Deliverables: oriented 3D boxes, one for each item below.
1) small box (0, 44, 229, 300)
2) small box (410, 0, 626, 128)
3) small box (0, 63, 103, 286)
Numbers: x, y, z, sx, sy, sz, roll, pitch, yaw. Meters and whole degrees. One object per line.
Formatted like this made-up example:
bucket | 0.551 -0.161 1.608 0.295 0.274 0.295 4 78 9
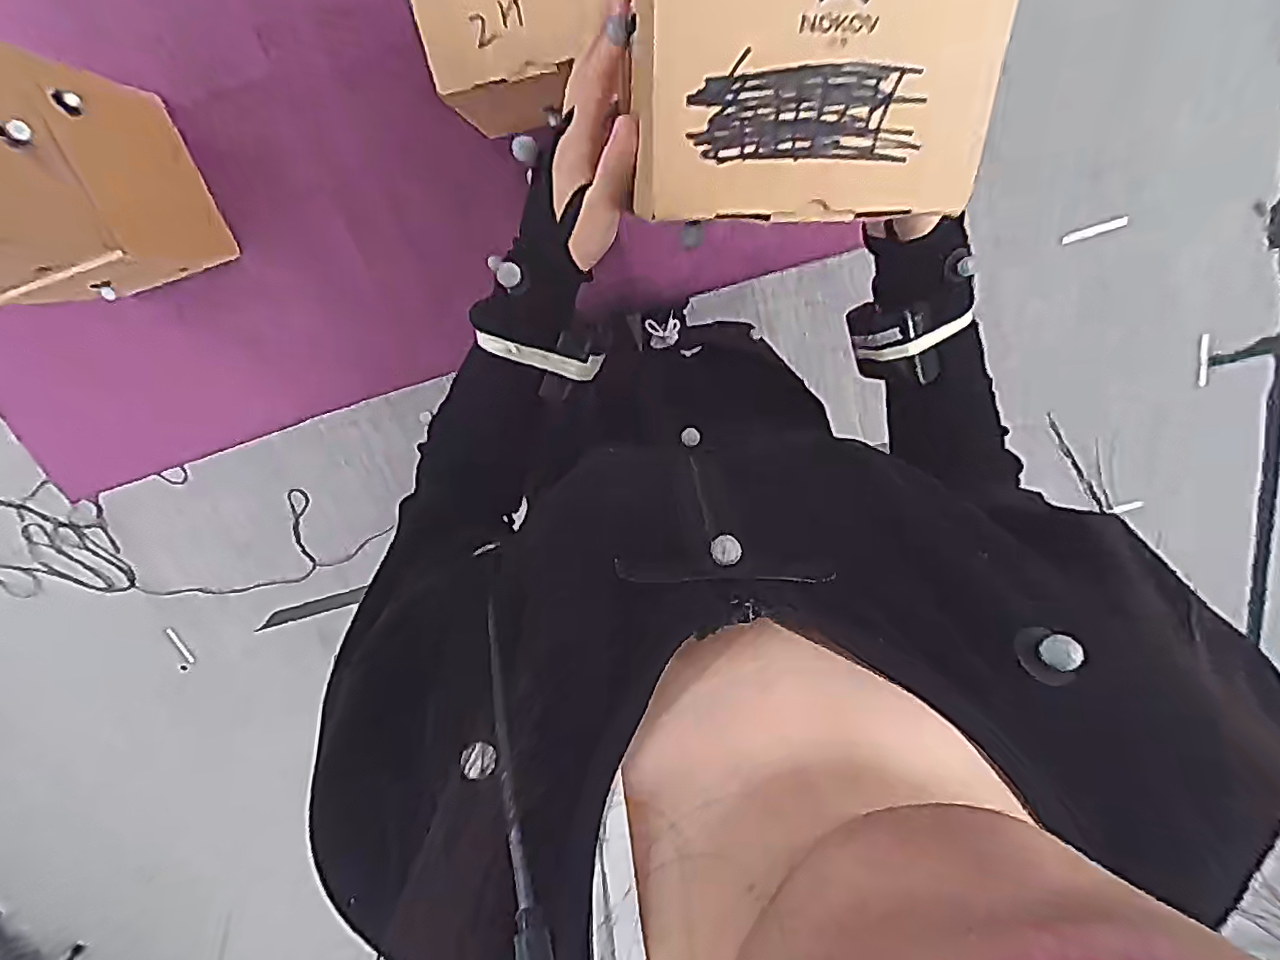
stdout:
small box | -0.586 -0.300 0.555 0.168 0.176 0.179 -16 111 6
small box | -0.111 -0.455 0.492 0.168 0.176 0.179 -11 112 5
small box | -0.588 -0.244 0.401 0.168 0.176 0.179 -16 110 7
